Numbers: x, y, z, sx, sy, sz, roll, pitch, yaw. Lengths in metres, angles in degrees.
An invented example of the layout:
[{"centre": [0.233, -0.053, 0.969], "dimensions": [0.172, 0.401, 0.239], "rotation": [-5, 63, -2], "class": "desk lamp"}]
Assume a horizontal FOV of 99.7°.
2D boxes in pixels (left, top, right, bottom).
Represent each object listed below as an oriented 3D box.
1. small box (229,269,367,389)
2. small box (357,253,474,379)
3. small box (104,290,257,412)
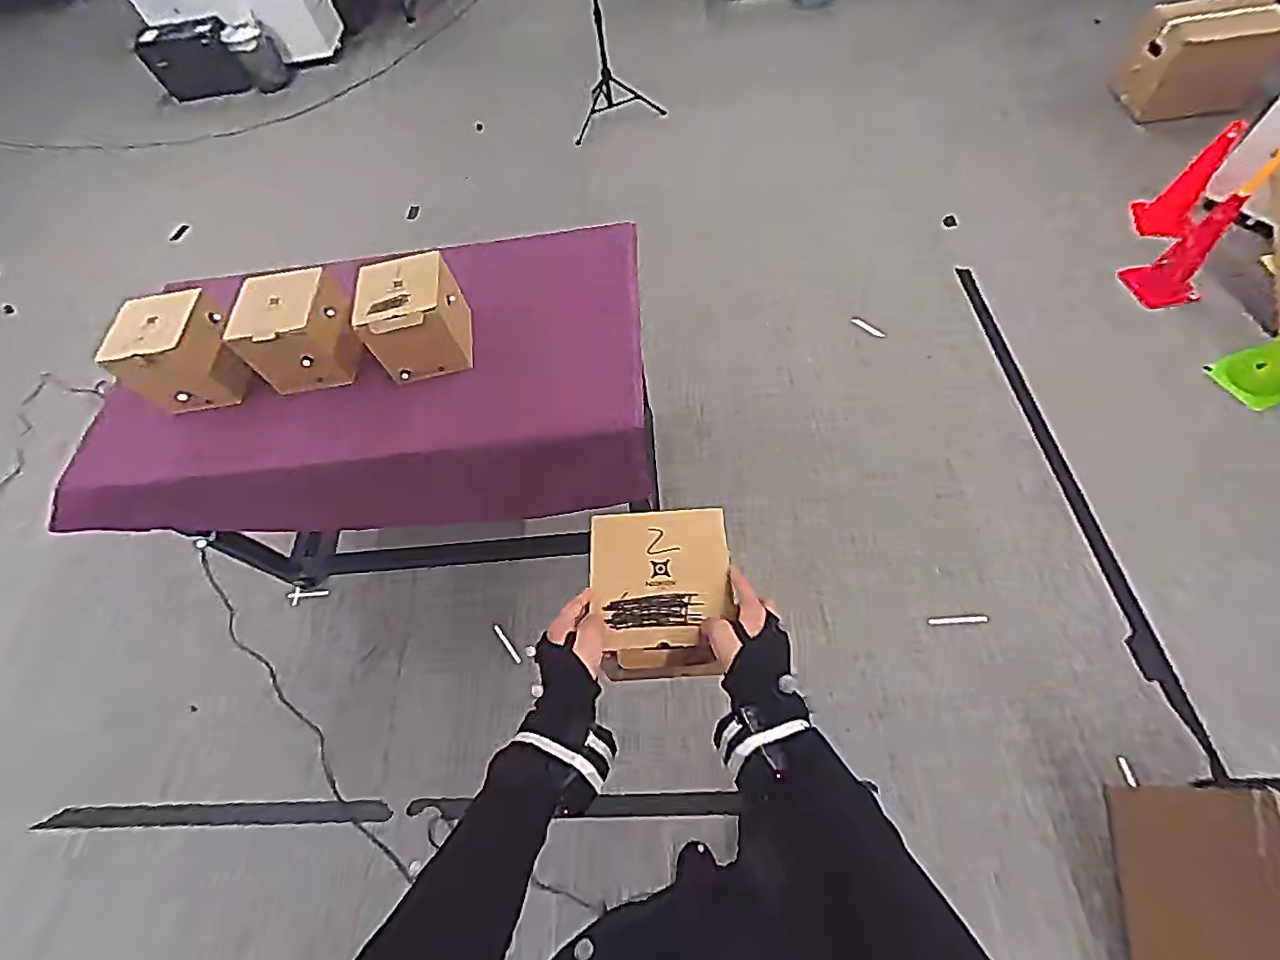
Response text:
[{"centre": [-0.702, -0.307, 1.136], "dimensions": [0.168, 0.176, 0.179], "rotation": [-7, 60, 3], "class": "small box"}, {"centre": [-0.450, -0.327, 1.112], "dimensions": [0.168, 0.176, 0.179], "rotation": [-12, 59, 0], "class": "small box"}, {"centre": [-0.949, -0.269, 1.144], "dimensions": [0.168, 0.176, 0.179], "rotation": [-9, 60, 3], "class": "small box"}]
